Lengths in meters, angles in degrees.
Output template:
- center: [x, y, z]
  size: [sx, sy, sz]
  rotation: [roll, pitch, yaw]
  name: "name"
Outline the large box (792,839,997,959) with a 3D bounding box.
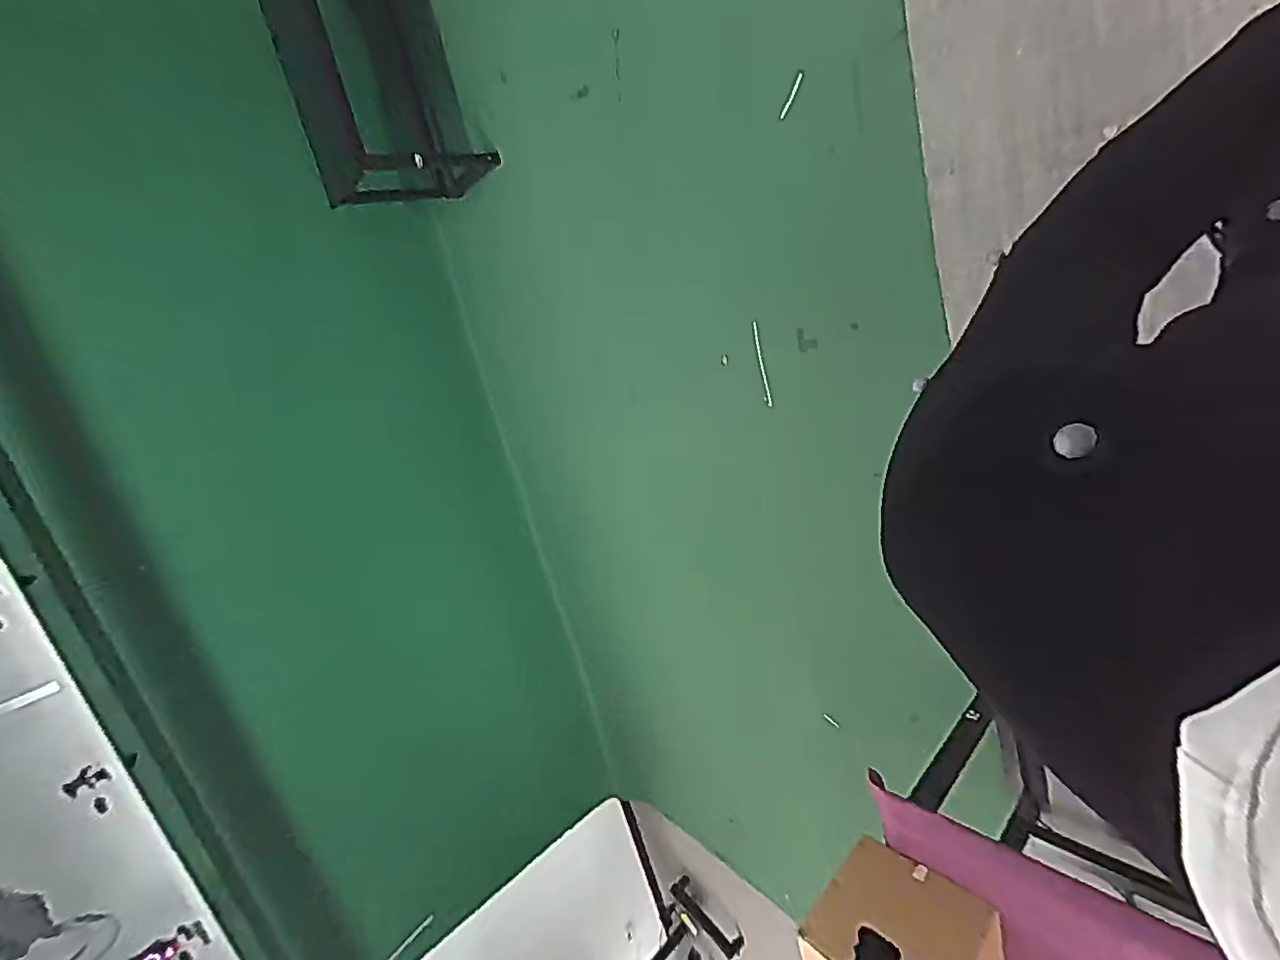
- center: [0.596, 1.156, 1.229]
  size: [0.320, 0.320, 0.408]
  rotation: [2, 111, 50]
  name: "large box"
